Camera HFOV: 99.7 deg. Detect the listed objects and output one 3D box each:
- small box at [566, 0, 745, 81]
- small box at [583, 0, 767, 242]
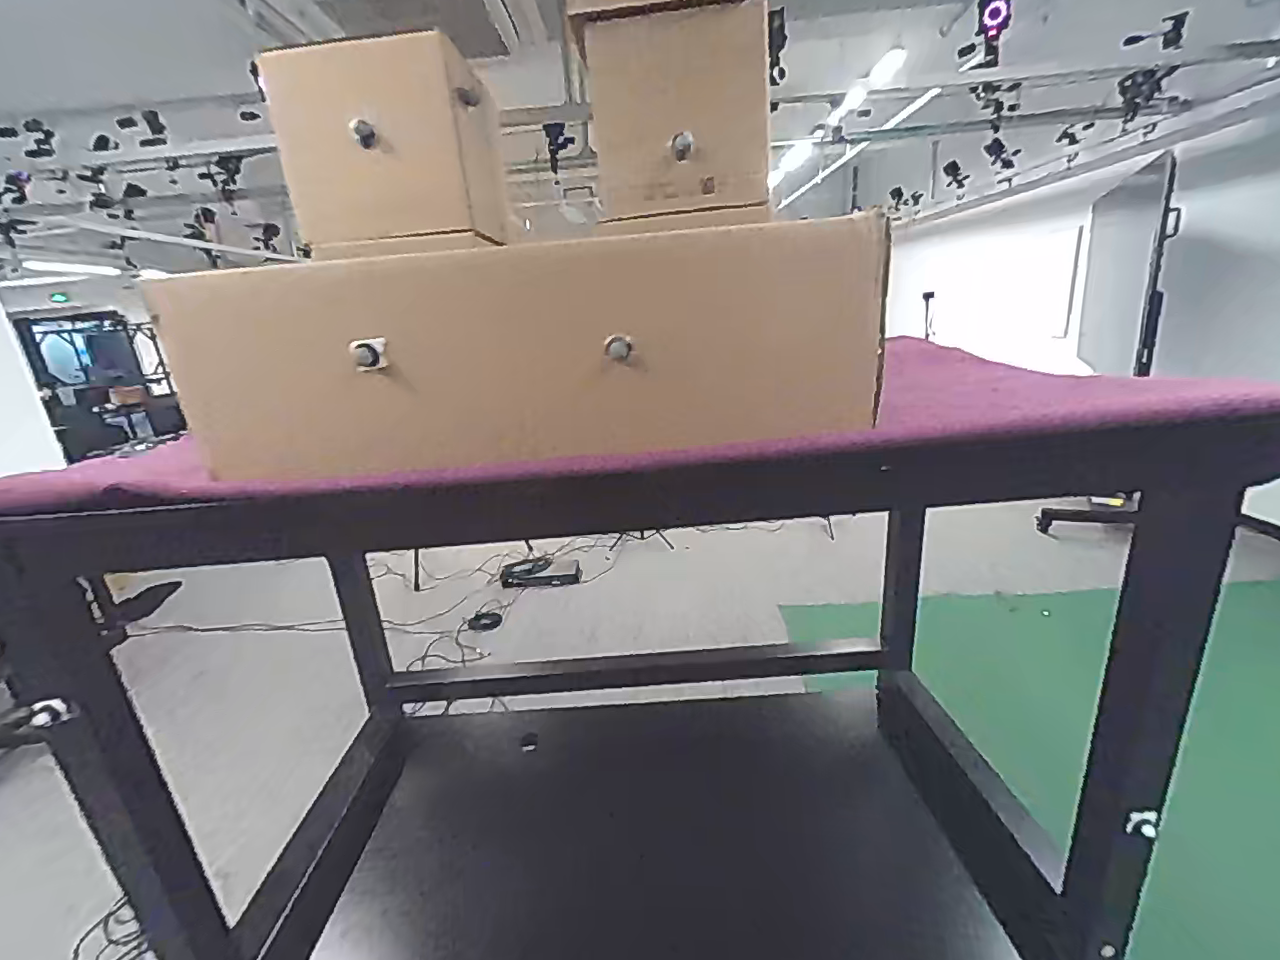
[{"bbox_3d":[0.011,-0.516,0.535,0.168,0.176,0.179,-4,17,5],"label":"small box"},{"bbox_3d":[0.040,-0.363,0.586,0.168,0.176,0.179,-5,17,4],"label":"small box"}]
